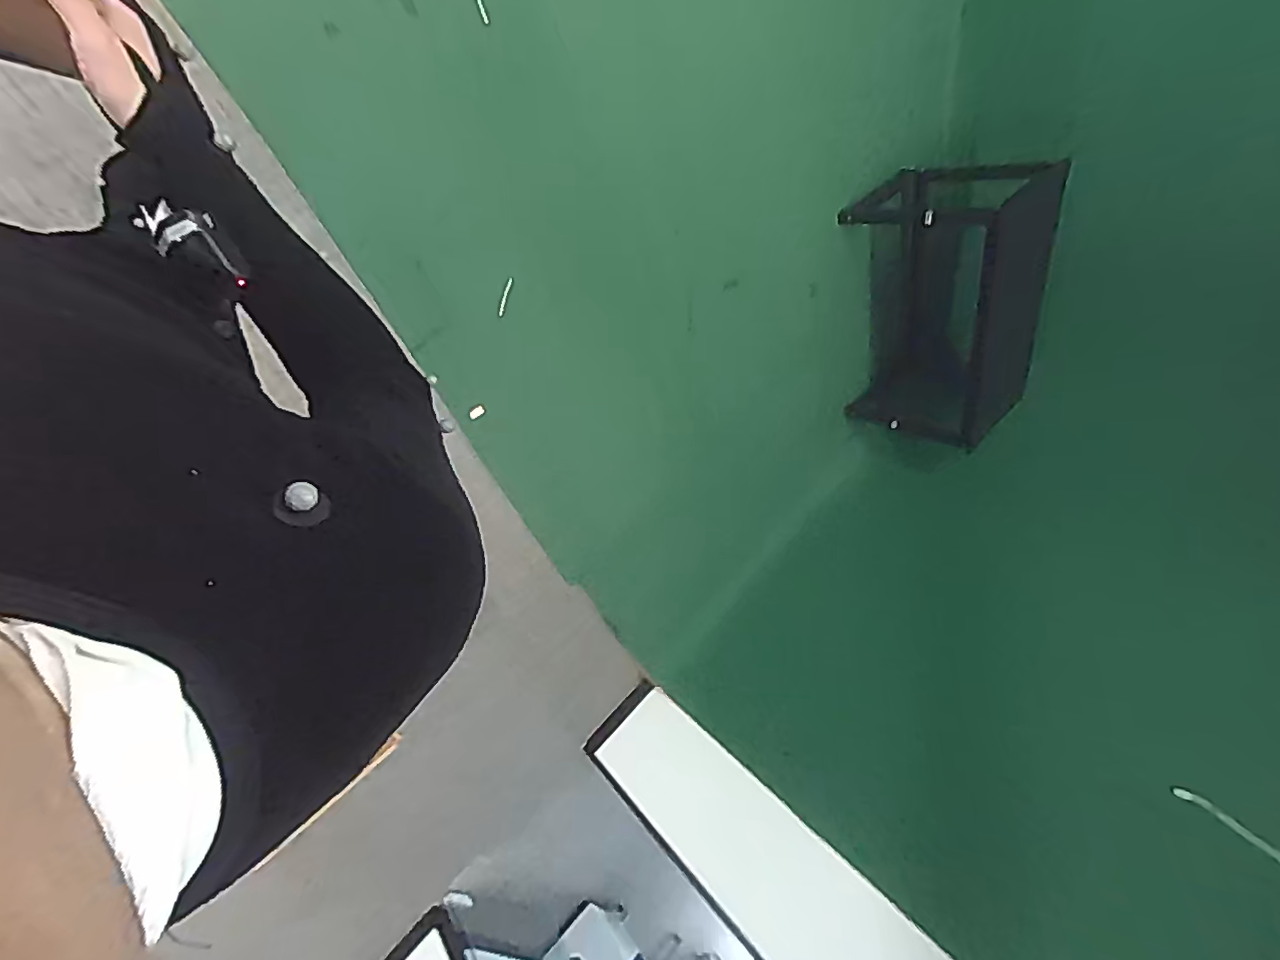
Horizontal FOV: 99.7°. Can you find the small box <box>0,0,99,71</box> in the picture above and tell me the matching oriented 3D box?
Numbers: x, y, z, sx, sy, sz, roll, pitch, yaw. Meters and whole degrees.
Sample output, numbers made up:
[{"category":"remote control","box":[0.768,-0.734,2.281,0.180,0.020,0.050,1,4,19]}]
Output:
[{"category":"small box","box":[-0.488,-0.424,0.357,0.168,0.176,0.179,-9,106,-41]}]
